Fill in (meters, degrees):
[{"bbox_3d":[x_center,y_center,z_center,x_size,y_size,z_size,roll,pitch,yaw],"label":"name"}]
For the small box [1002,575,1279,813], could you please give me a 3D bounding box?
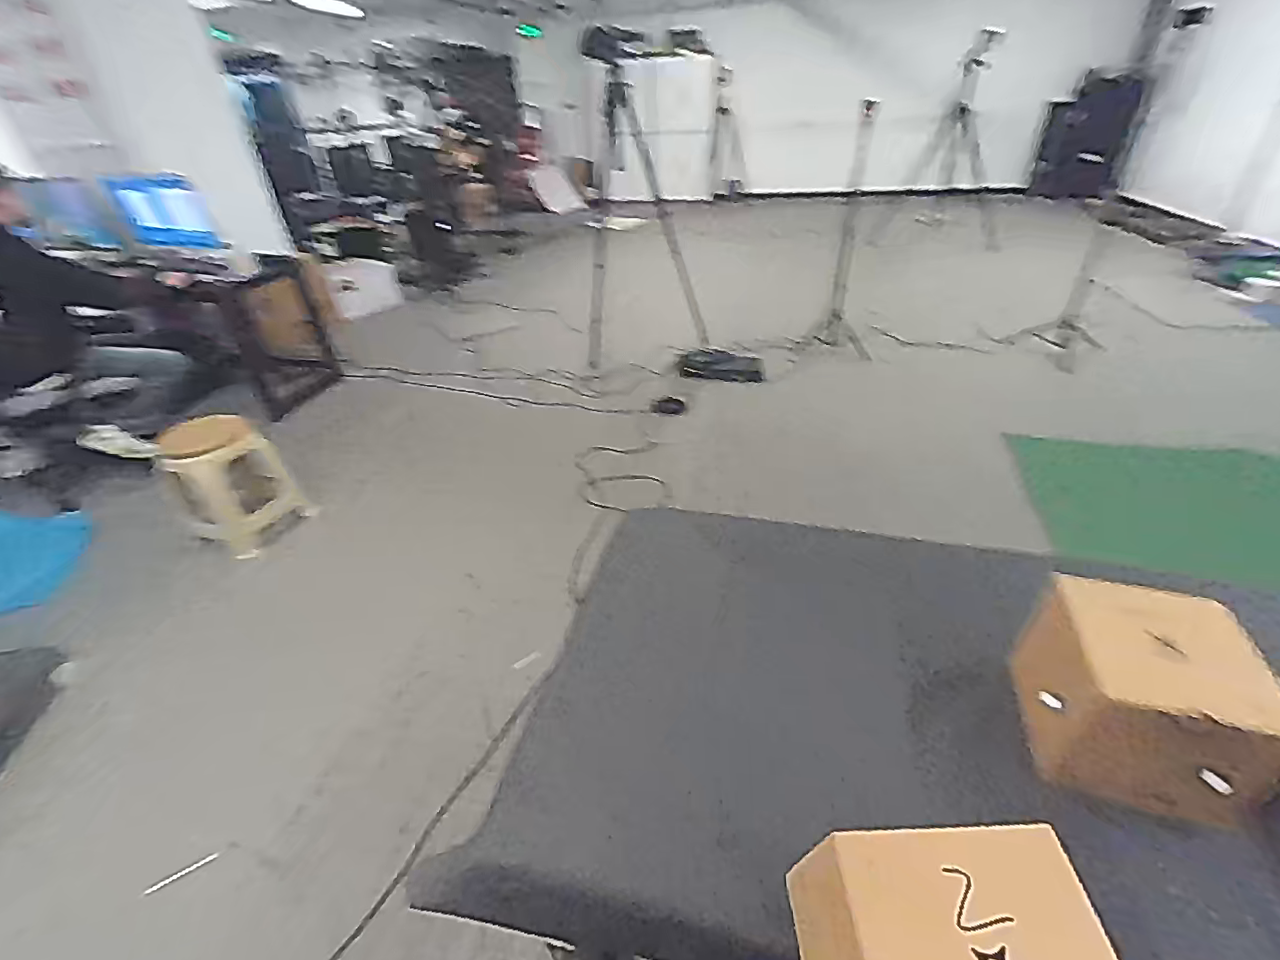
[{"bbox_3d":[0.548,0.240,0.617,0.168,0.176,0.179,8,36,14],"label":"small box"}]
